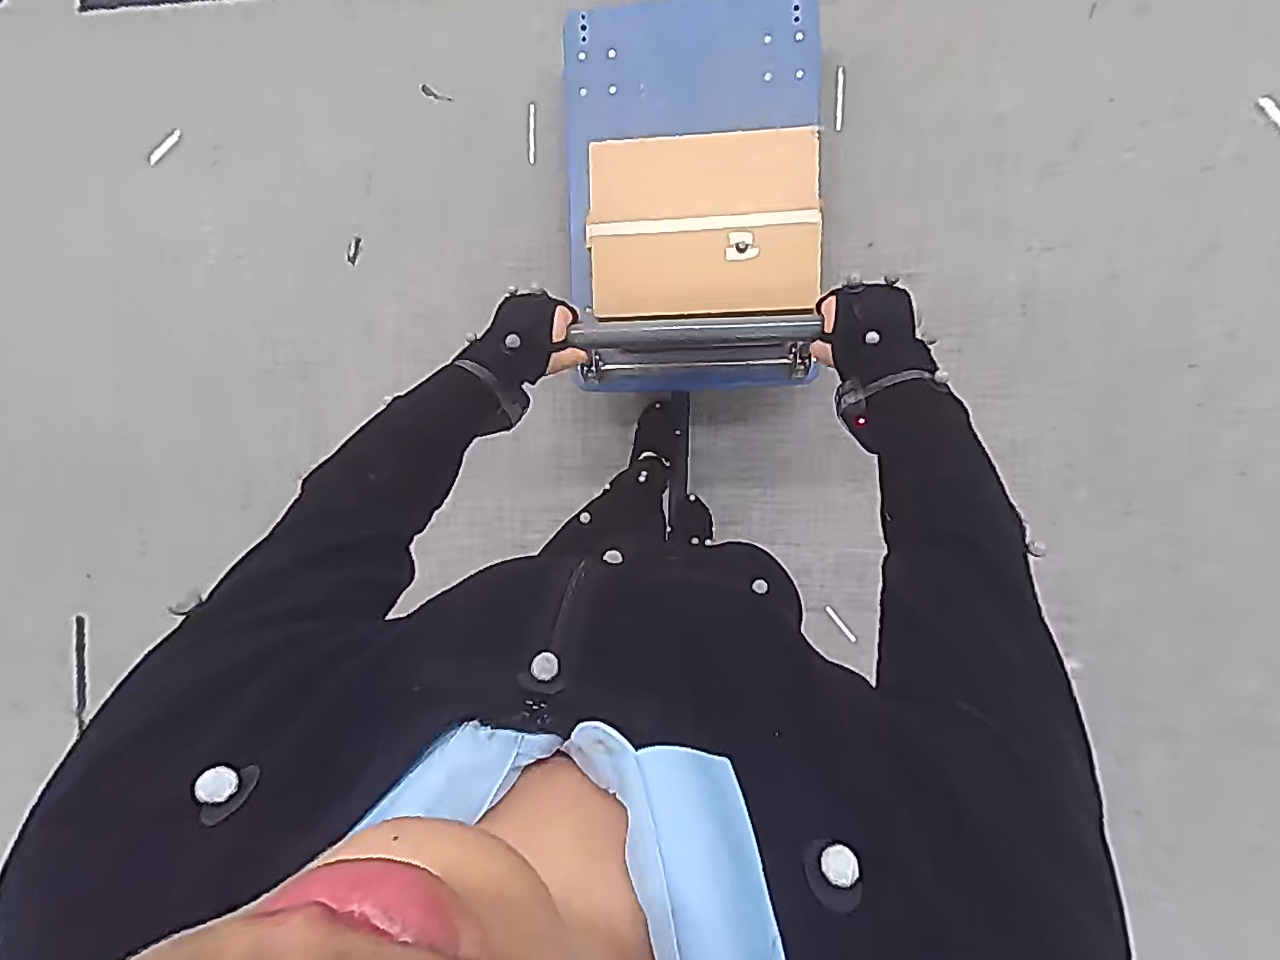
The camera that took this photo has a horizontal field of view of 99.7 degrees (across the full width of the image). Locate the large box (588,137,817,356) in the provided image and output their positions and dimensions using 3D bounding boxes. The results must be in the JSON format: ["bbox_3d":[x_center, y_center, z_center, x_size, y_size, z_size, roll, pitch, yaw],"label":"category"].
[{"bbox_3d":[0.118,-0.444,1.109,0.408,0.320,0.320,-1,93,4],"label":"large box"}]
